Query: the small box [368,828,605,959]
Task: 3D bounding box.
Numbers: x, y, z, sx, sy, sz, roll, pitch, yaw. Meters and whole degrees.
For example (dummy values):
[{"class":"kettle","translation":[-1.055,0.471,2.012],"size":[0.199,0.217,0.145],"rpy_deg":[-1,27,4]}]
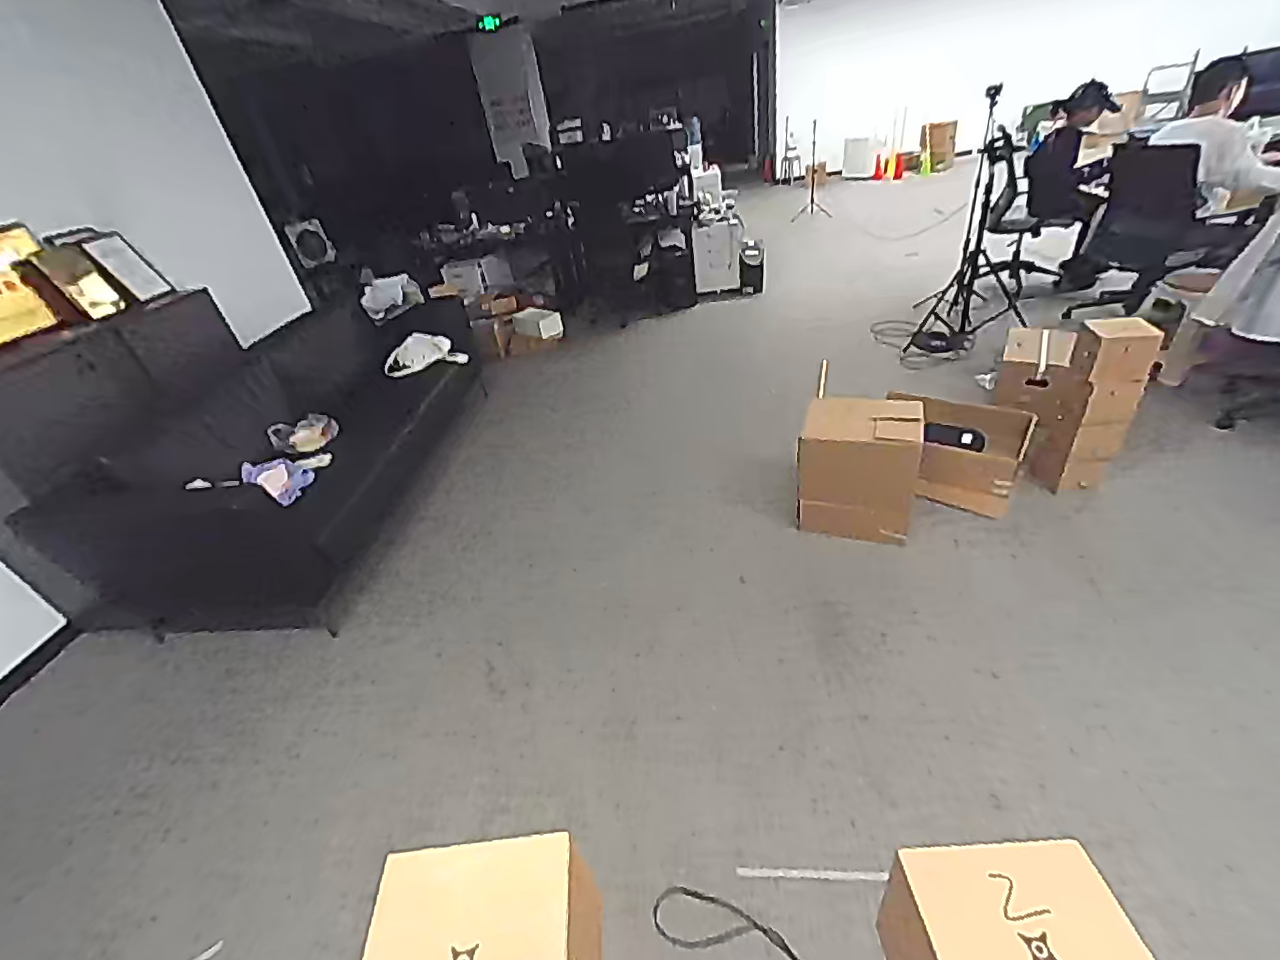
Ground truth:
[{"class":"small box","translation":[-0.124,0.434,0.468],"size":[0.168,0.176,0.179],"rpy_deg":[-8,40,1]}]
